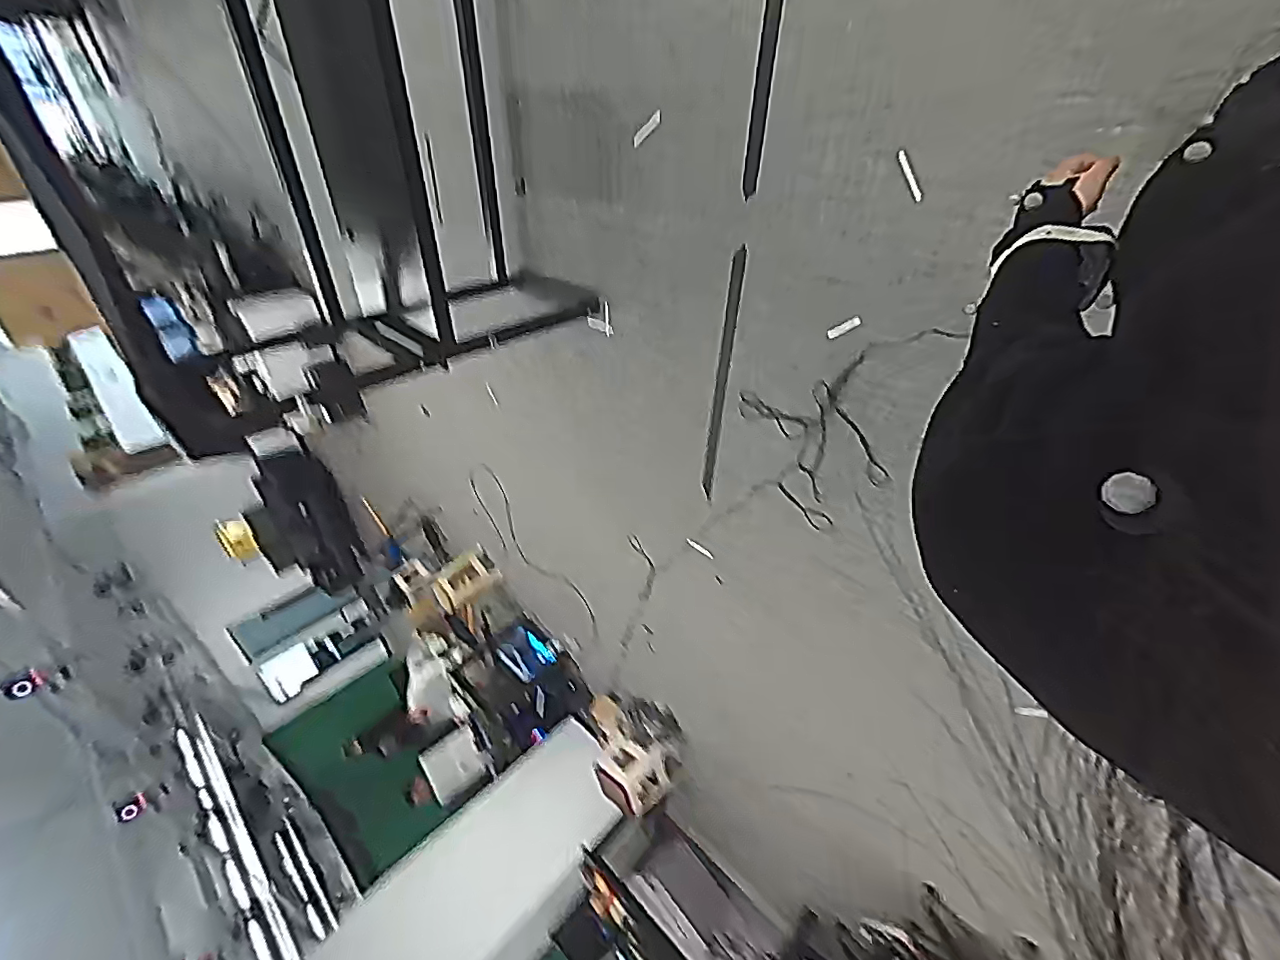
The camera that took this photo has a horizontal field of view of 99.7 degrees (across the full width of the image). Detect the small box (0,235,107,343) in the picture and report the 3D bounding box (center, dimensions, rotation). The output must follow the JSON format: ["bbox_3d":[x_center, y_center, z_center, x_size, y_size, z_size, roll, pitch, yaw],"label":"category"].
[{"bbox_3d":[-1.330,-0.428,1.190,0.179,0.176,0.168,35,138,32],"label":"small box"}]
